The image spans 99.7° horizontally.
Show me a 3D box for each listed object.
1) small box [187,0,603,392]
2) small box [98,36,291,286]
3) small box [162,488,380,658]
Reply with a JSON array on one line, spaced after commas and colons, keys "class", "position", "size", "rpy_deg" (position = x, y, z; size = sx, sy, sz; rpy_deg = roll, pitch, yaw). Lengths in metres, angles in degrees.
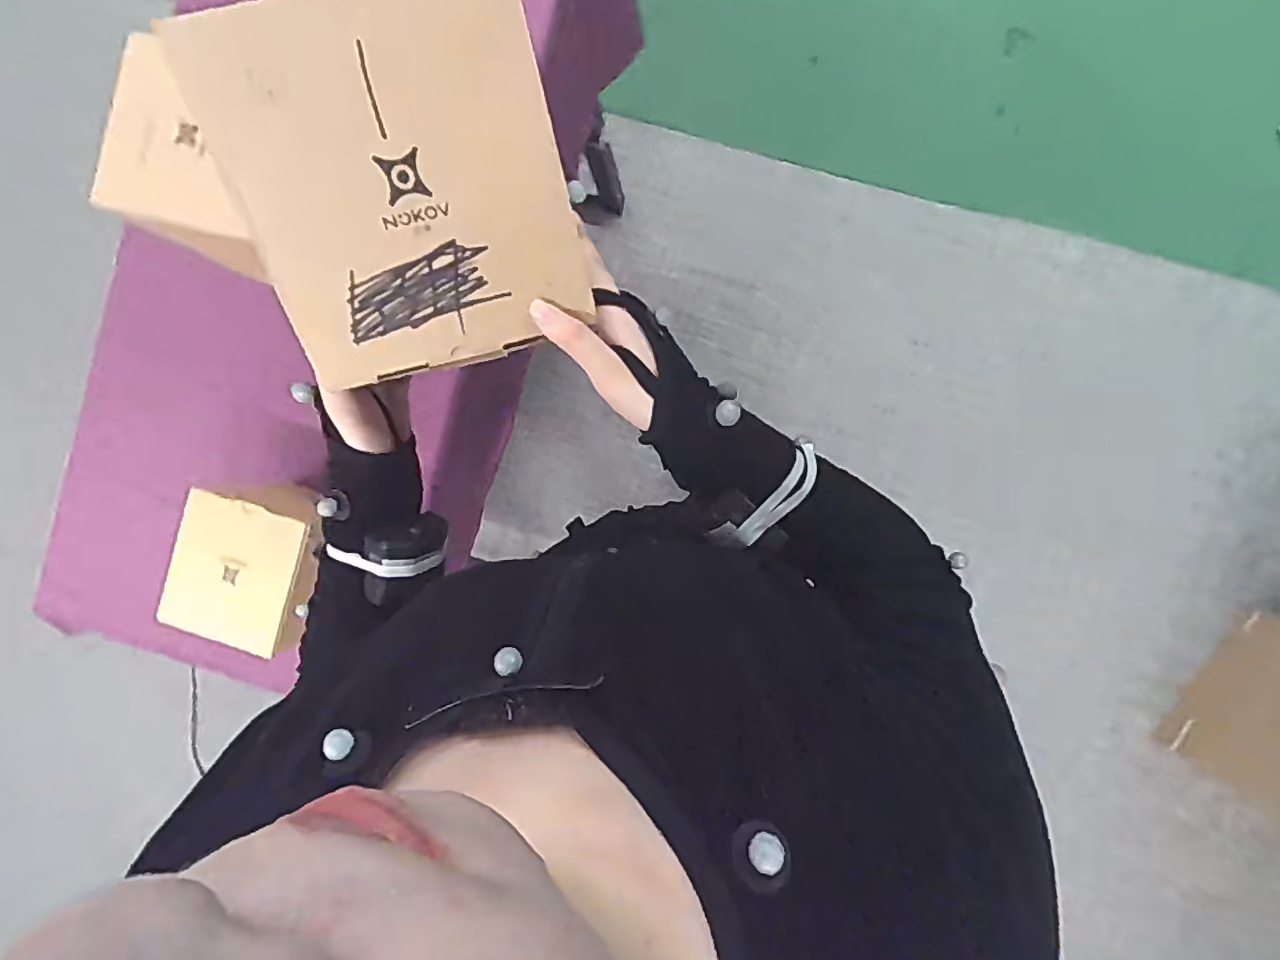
[{"class": "small box", "position": [-0.126, -0.177, 0.360], "size": [0.168, 0.176, 0.179], "rpy_deg": [-14, 114, -4]}, {"class": "small box", "position": [-0.393, -0.309, 0.572], "size": [0.179, 0.176, 0.168], "rpy_deg": [15, 91, 6]}, {"class": "small box", "position": [-0.493, 0.115, 0.749], "size": [0.168, 0.176, 0.179], "rpy_deg": [15, 91, 6]}]
